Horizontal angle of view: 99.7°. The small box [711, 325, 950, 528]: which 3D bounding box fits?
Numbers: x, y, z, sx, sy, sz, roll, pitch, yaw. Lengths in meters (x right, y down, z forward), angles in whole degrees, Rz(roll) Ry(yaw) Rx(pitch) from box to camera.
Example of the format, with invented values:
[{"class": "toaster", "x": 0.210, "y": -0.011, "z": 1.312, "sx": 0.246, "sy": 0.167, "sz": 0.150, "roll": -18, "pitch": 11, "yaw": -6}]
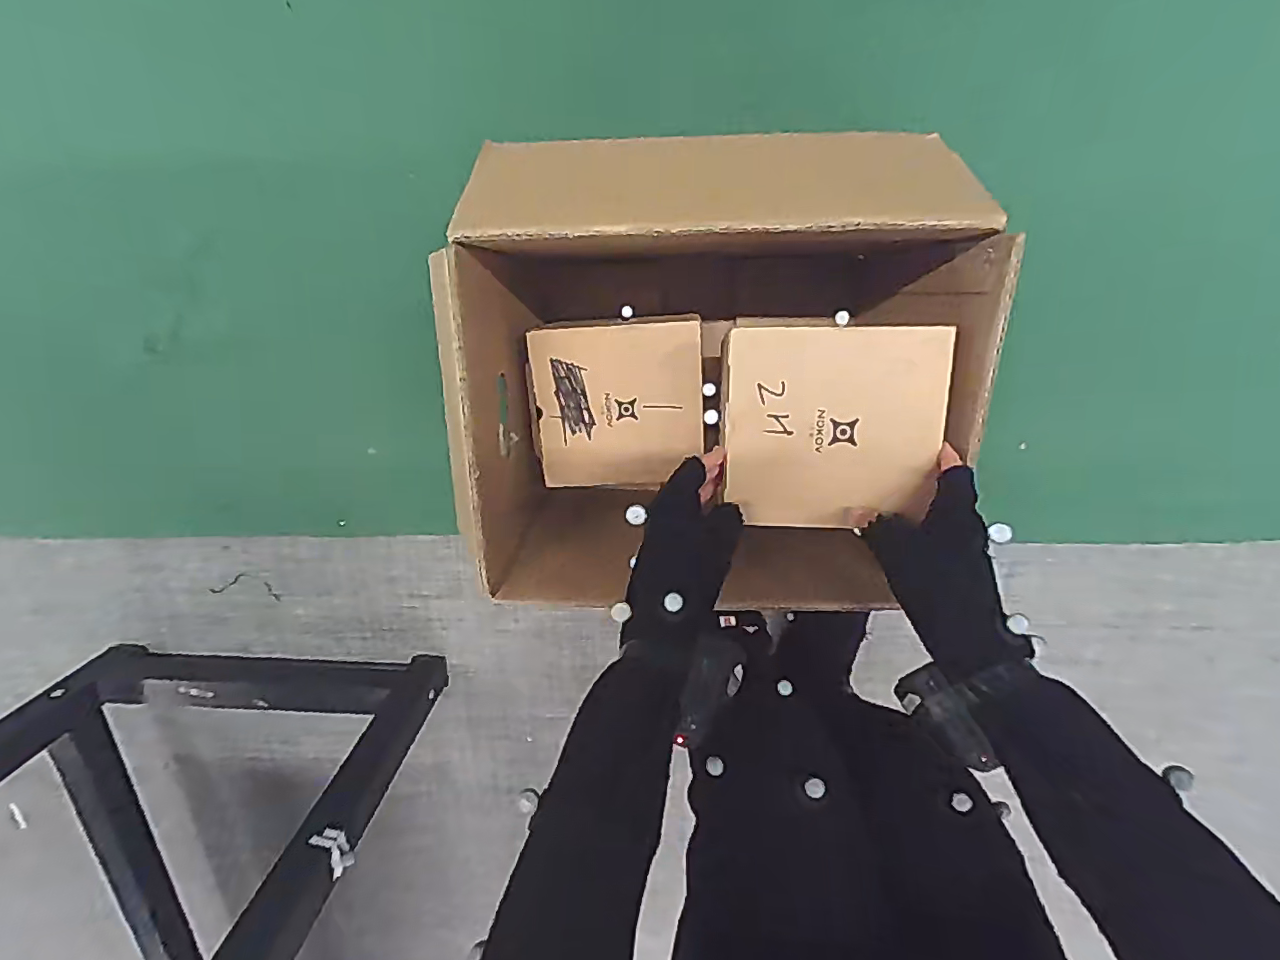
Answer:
[{"class": "small box", "x": 0.160, "y": -0.058, "z": 0.516, "sx": 0.179, "sy": 0.176, "sz": 0.168, "roll": 1, "pitch": 101, "yaw": 7}]
